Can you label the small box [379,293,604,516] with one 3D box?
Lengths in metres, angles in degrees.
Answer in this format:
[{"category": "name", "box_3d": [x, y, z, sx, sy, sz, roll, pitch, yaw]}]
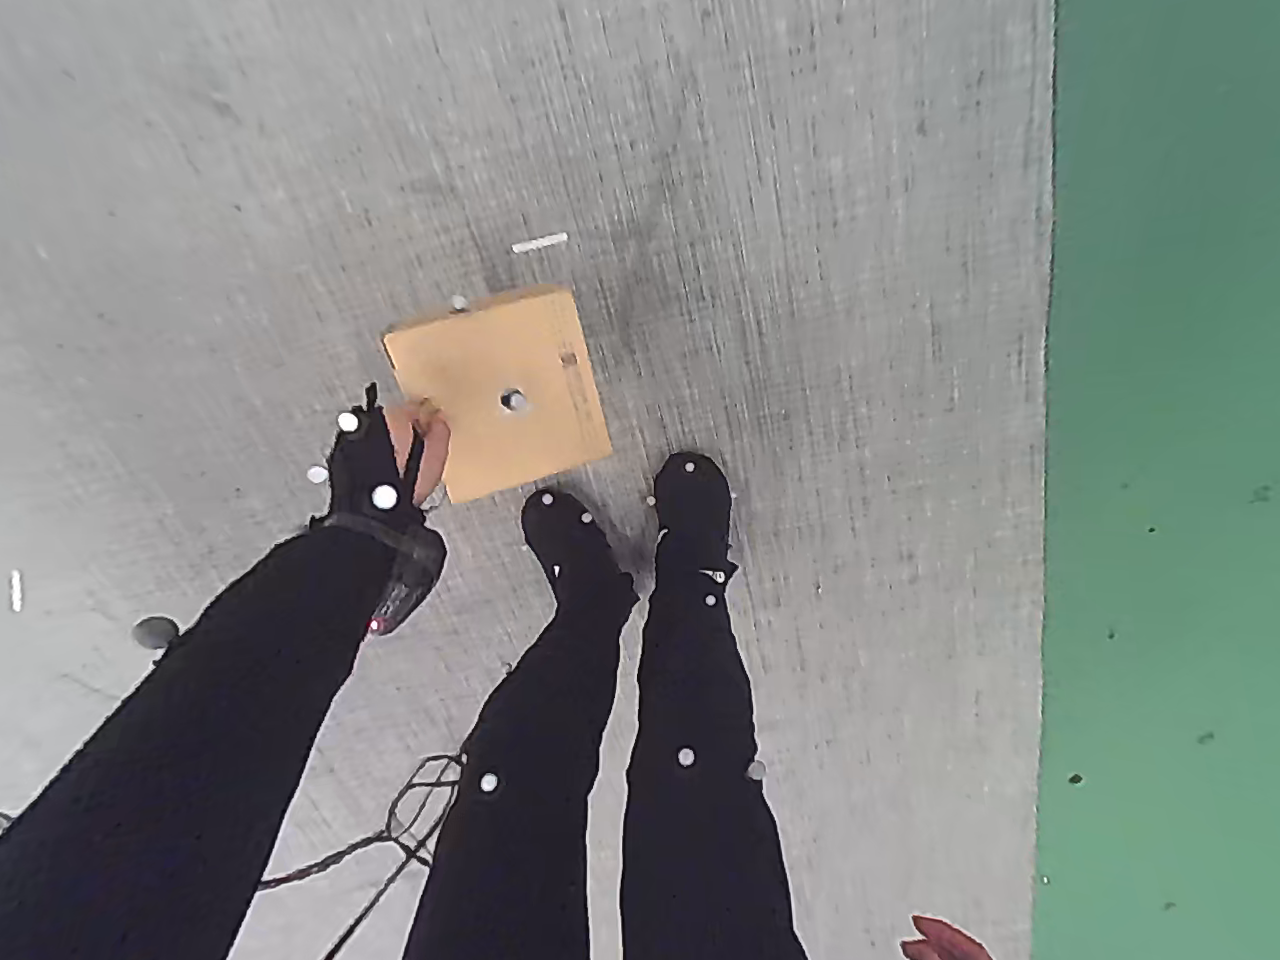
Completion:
[{"category": "small box", "box_3d": [-0.145, -0.091, 0.569, 0.176, 0.179, 0.168, -18, 116, -10]}]
